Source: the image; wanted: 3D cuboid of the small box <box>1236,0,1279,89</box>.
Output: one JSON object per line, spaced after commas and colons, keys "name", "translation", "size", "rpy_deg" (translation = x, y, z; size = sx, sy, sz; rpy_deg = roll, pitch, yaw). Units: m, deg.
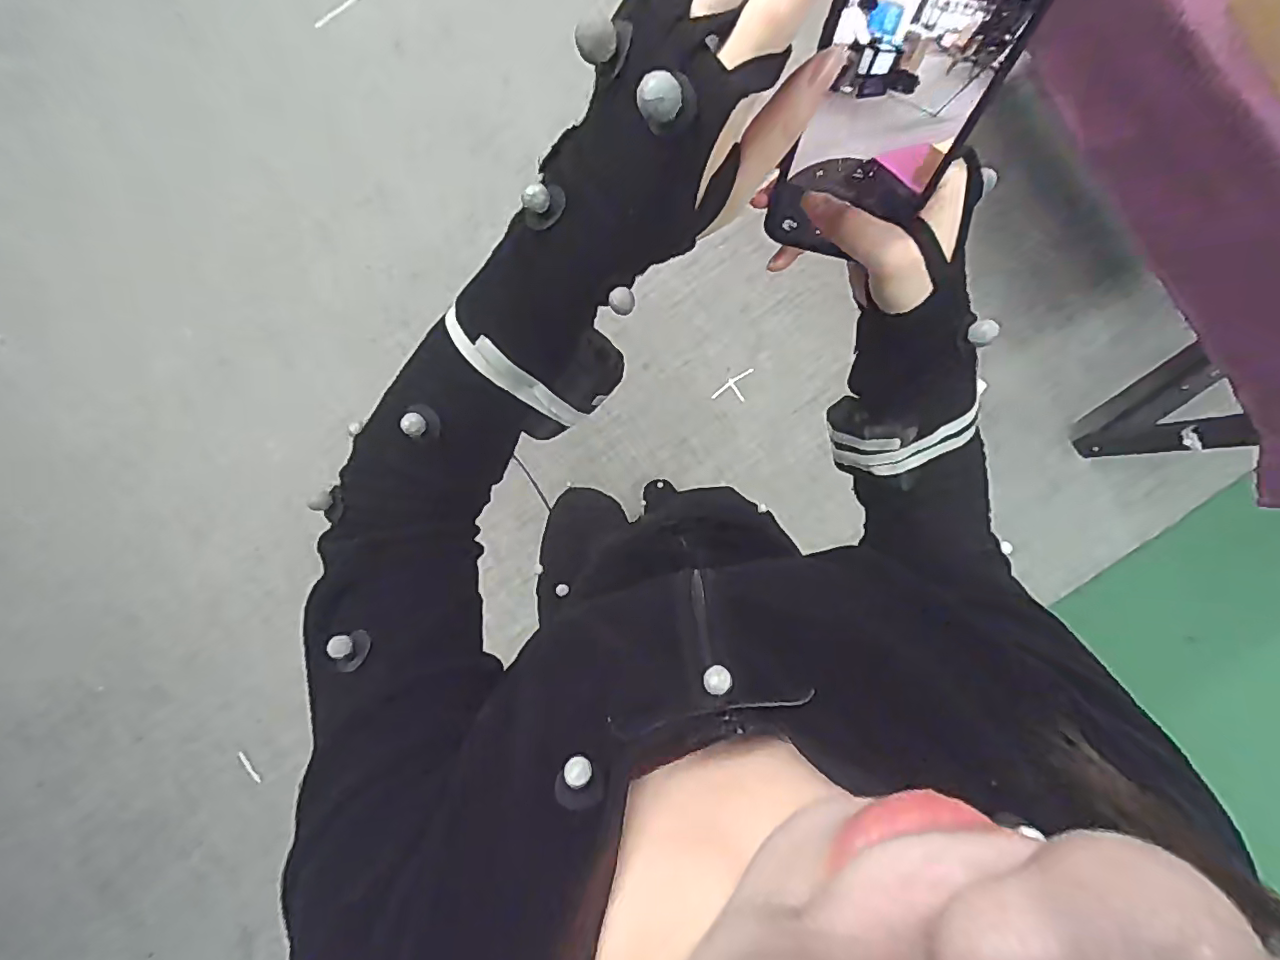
{"name": "small box", "translation": [0.936, -0.639, 0.679], "size": [0.168, 0.176, 0.179], "rpy_deg": [-28, 90, 1]}
